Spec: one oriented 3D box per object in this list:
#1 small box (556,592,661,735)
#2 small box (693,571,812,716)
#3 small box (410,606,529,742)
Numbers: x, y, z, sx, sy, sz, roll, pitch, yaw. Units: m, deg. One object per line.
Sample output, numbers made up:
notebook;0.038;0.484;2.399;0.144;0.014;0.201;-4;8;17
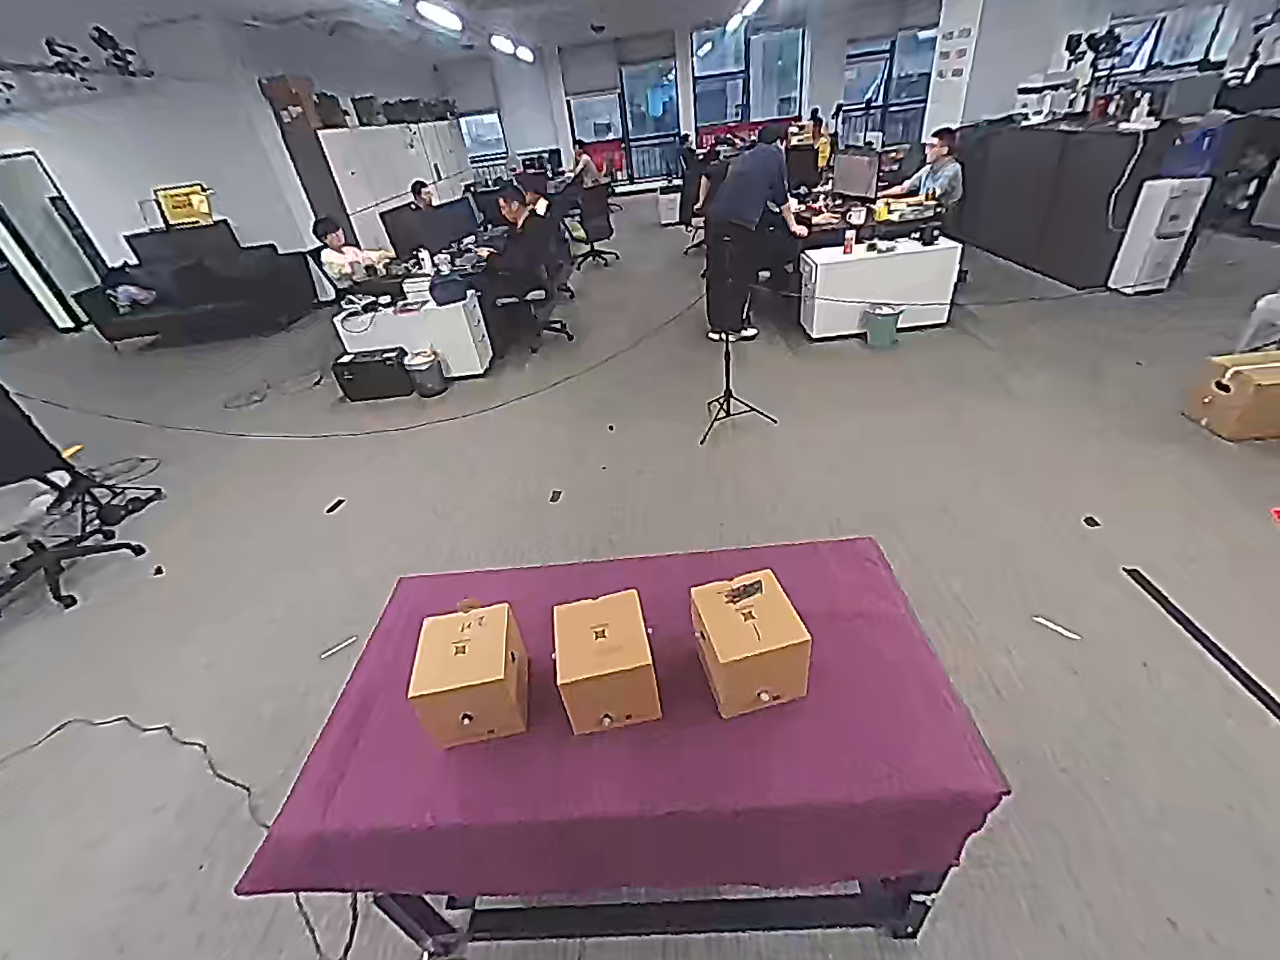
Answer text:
small box;-0.061;0.345;1.022;0.168;0.176;0.179;-12;34;-4
small box;0.204;0.306;1.019;0.168;0.176;0.179;-13;36;-7
small box;-0.312;0.373;1.030;0.168;0.176;0.179;-10;34;-4
